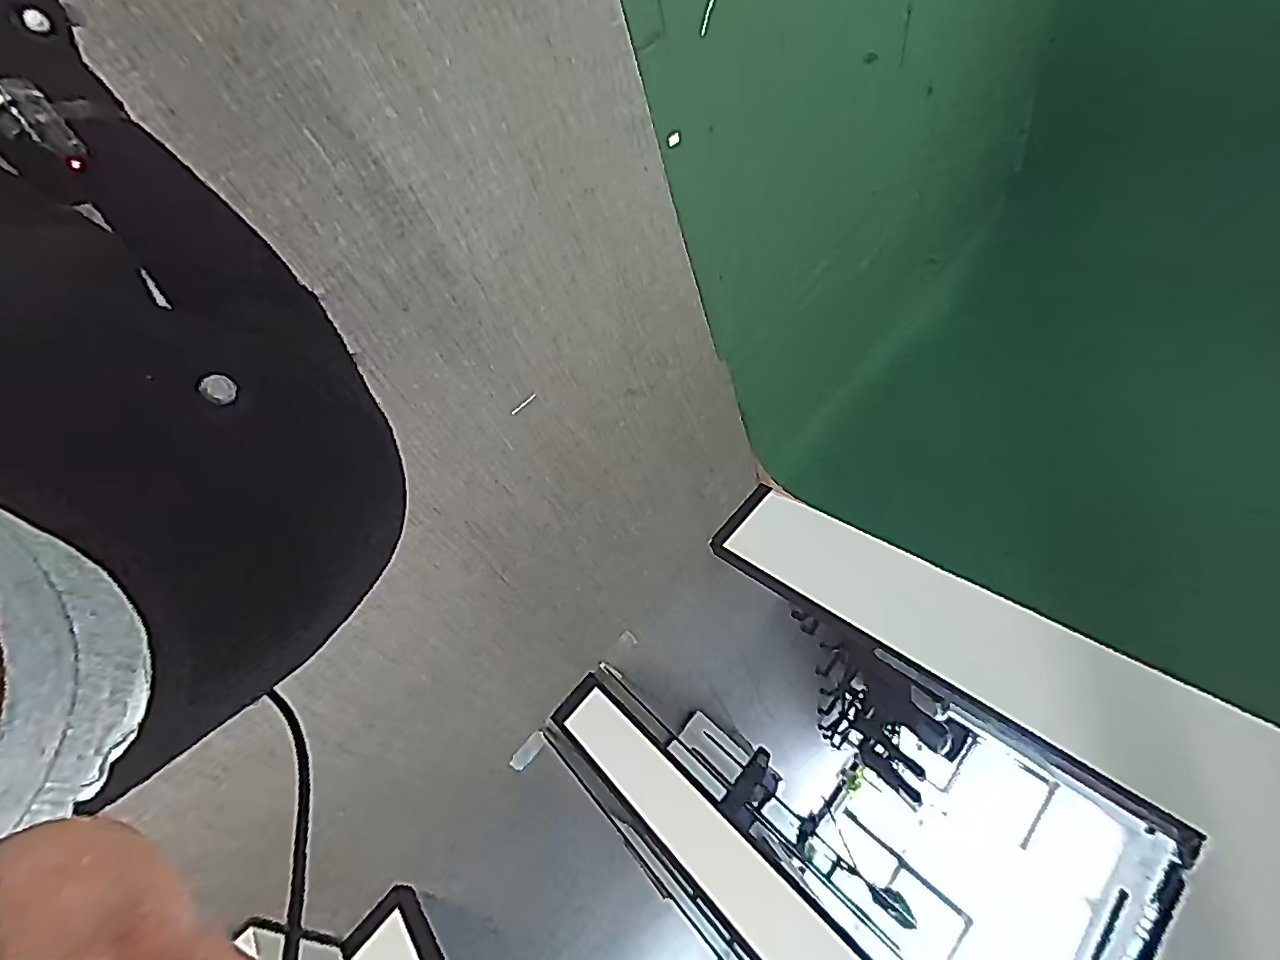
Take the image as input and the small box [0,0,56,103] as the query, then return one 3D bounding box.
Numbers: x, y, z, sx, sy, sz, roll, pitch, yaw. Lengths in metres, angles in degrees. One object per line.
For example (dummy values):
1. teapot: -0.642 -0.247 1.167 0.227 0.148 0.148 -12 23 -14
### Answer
1. small box: -0.611 -0.422 0.408 0.168 0.176 0.179 -22 96 -29
